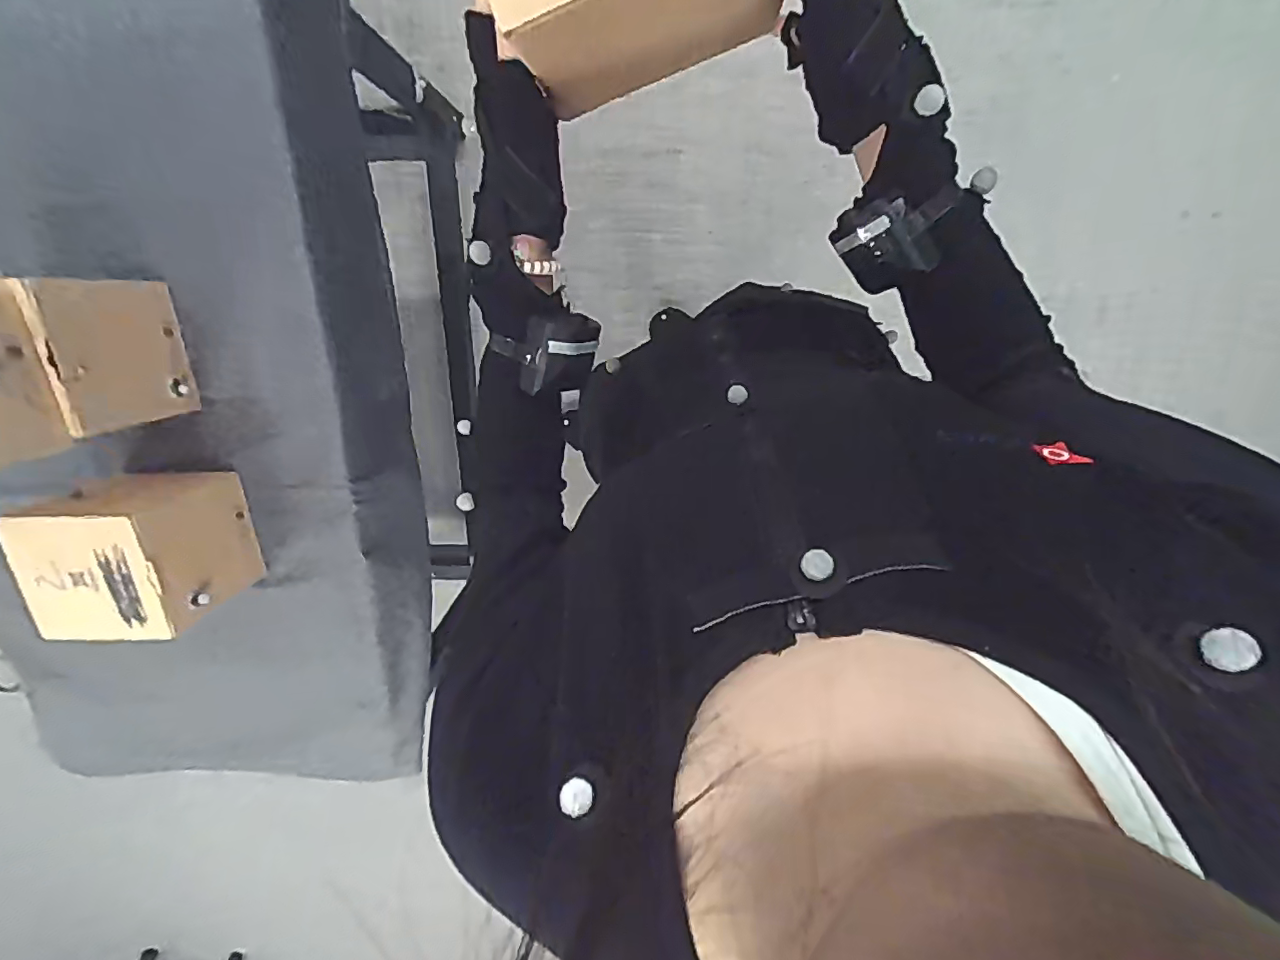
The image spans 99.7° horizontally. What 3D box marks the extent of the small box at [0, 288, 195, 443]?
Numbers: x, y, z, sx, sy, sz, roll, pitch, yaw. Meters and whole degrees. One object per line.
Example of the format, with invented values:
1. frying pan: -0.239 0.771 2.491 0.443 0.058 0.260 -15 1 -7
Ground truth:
1. small box: -0.688 -0.143 0.650 0.179 0.176 0.168 -1 108 4

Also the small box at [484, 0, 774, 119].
1. small box: -0.013 -0.350 0.316 0.179 0.176 0.168 -18 108 8

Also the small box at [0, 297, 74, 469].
1. small box: -0.709 -0.080 0.499 0.179 0.176 0.168 -3 108 3
